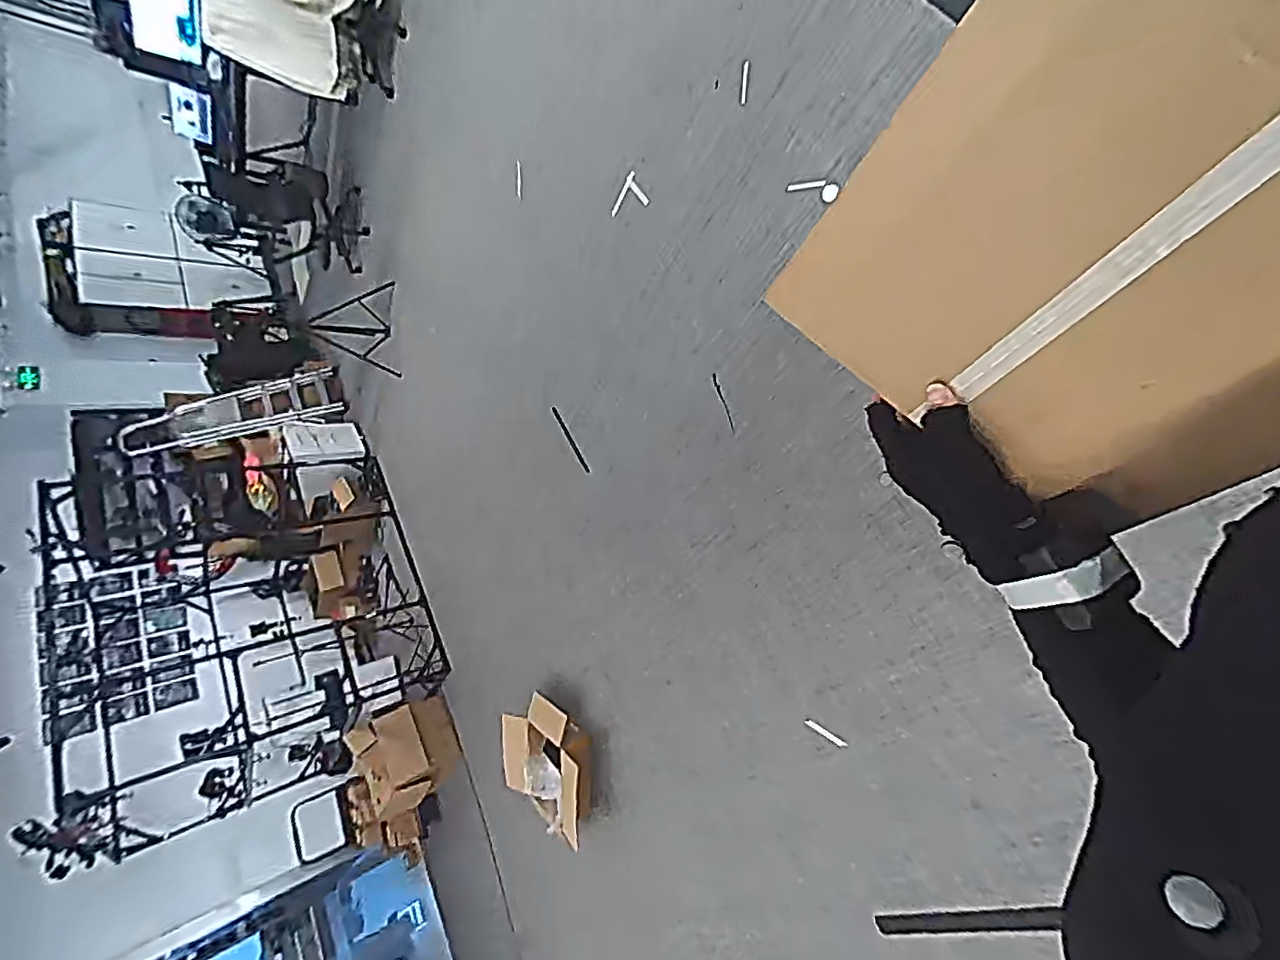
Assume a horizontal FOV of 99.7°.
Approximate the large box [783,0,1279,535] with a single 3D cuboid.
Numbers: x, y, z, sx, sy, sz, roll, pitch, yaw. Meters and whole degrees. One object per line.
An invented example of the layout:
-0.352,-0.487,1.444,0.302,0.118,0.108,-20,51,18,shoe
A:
0.380,-0.237,0.381,0.320,0.320,0.408,40,141,3,large box
